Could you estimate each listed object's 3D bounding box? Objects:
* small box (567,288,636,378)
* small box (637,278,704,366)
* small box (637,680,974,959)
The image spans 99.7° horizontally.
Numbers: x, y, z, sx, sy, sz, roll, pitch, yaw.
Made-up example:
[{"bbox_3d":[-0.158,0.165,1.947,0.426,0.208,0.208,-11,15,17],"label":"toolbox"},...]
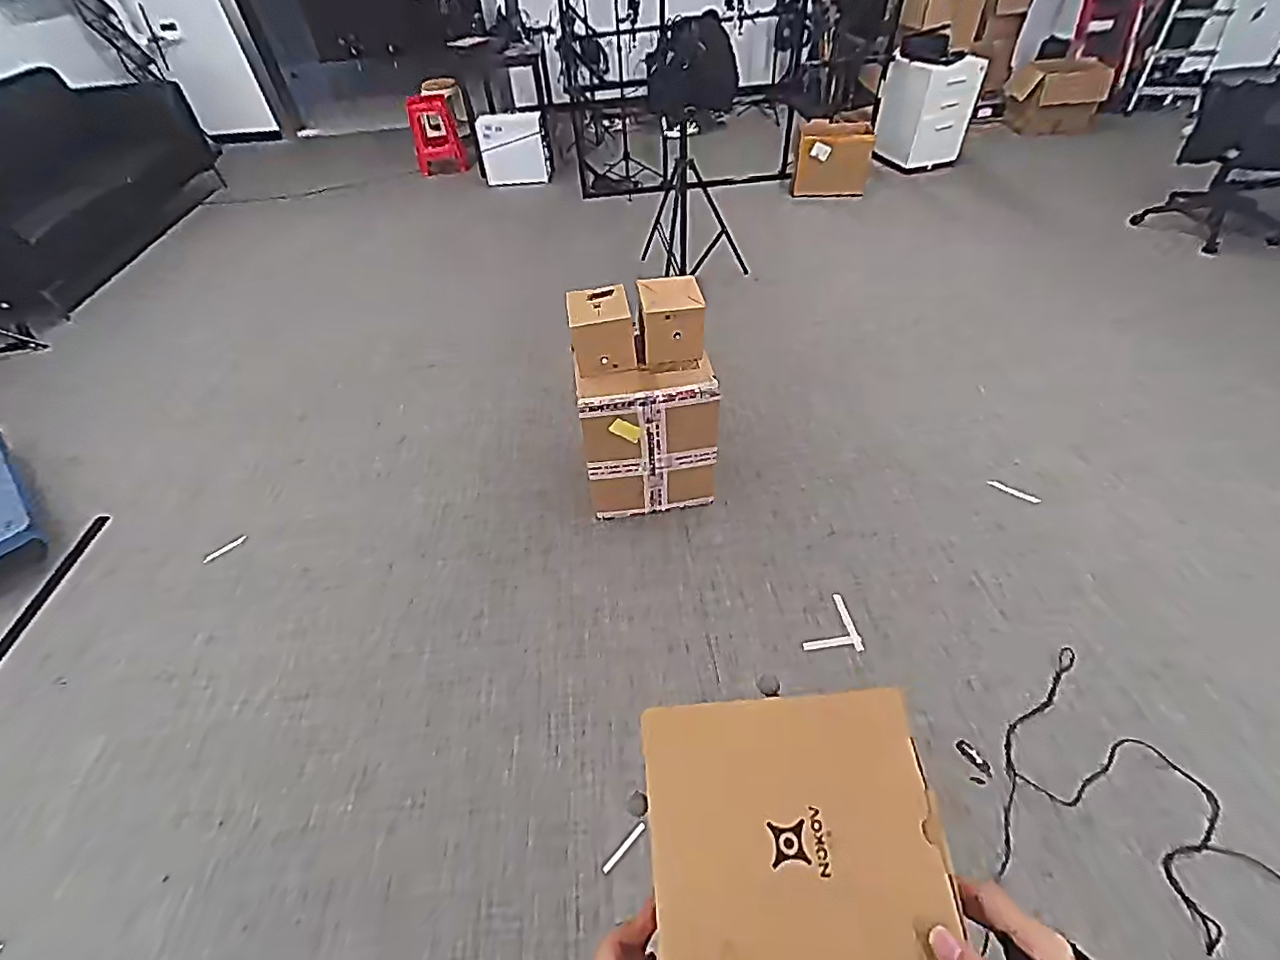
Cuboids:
[{"bbox_3d":[-0.108,-0.411,1.520,0.168,0.176,0.179,-10,49,-1],"label":"small box"},{"bbox_3d":[0.083,-0.449,1.536,0.168,0.176,0.179,-6,48,-5],"label":"small box"},{"bbox_3d":[0.092,0.248,0.394,0.179,0.176,0.168,-4,63,-2],"label":"small box"}]
